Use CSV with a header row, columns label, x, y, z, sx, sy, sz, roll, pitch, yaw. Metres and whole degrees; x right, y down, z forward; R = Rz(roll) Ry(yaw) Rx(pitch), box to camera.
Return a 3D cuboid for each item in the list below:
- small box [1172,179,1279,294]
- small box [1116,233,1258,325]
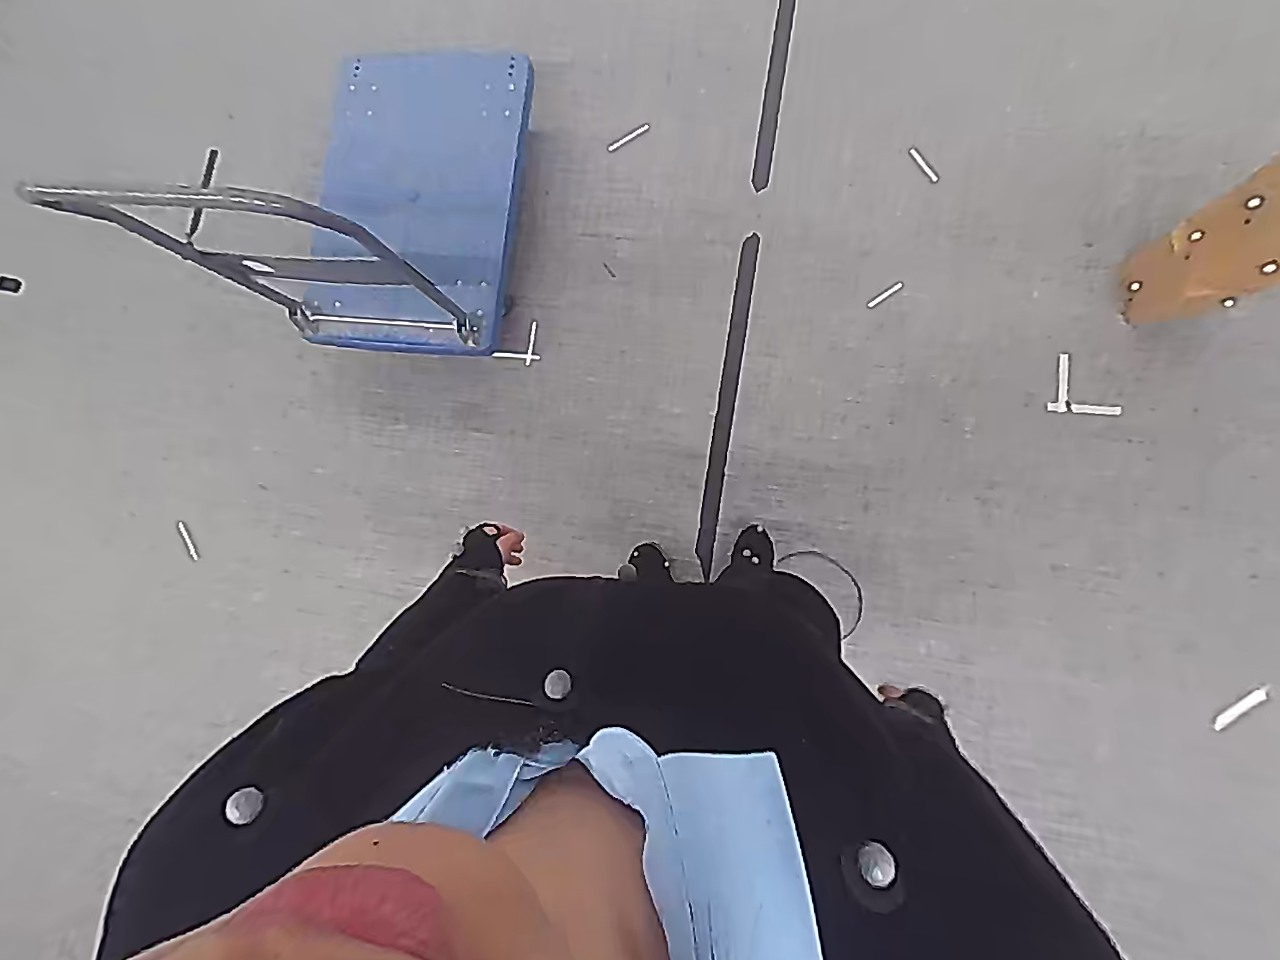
label,x,y,z,sx,sy,sz,roll,pitch,yaw
small box,1.334,-0.523,1.180,0.179,0.176,0.168,8,85,8
small box,1.346,-0.499,1.341,0.179,0.176,0.168,-4,83,7
